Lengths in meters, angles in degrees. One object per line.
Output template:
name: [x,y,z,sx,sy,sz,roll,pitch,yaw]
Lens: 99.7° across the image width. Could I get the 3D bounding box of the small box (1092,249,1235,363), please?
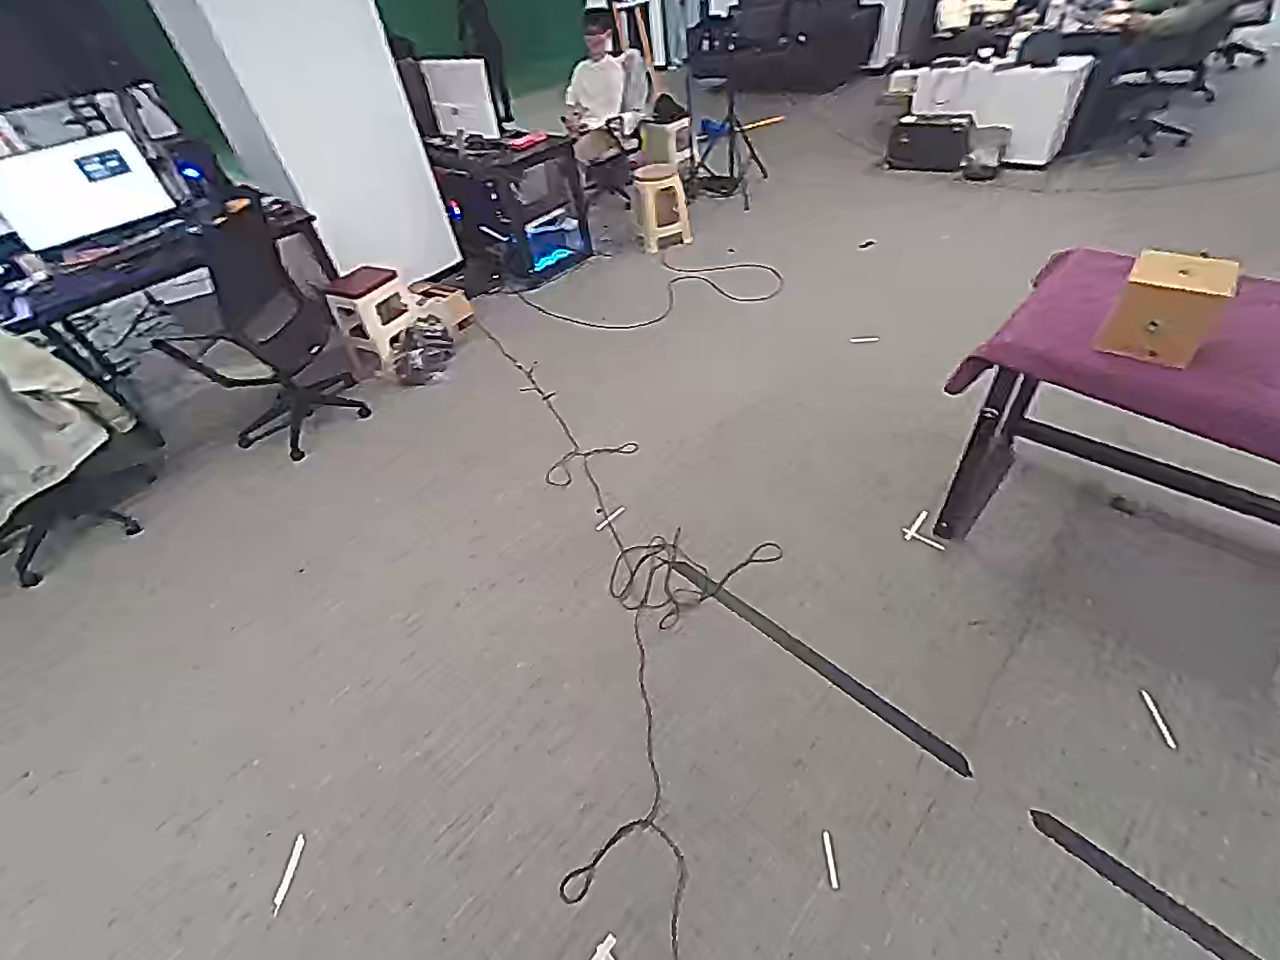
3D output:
small box: [1.138,-0.380,1.186,0.168,0.176,0.179,27,54,31]
